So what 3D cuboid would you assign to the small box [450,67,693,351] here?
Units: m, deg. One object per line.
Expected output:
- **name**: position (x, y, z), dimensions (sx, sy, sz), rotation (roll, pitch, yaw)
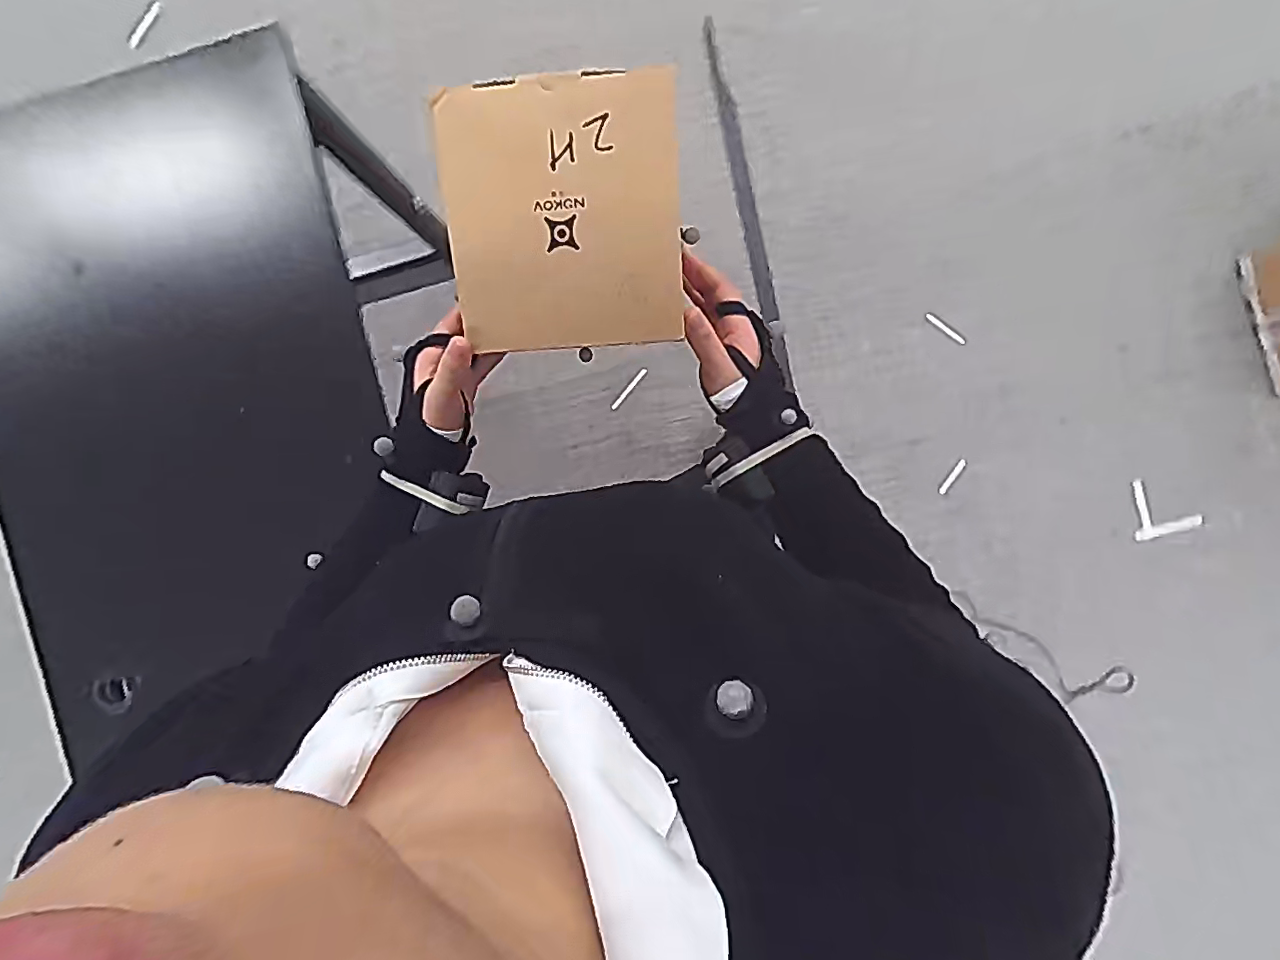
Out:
- **small box**: position (-0.039, -0.206, 0.457), dimensions (0.168, 0.176, 0.179), rotation (-2, 105, 4)
